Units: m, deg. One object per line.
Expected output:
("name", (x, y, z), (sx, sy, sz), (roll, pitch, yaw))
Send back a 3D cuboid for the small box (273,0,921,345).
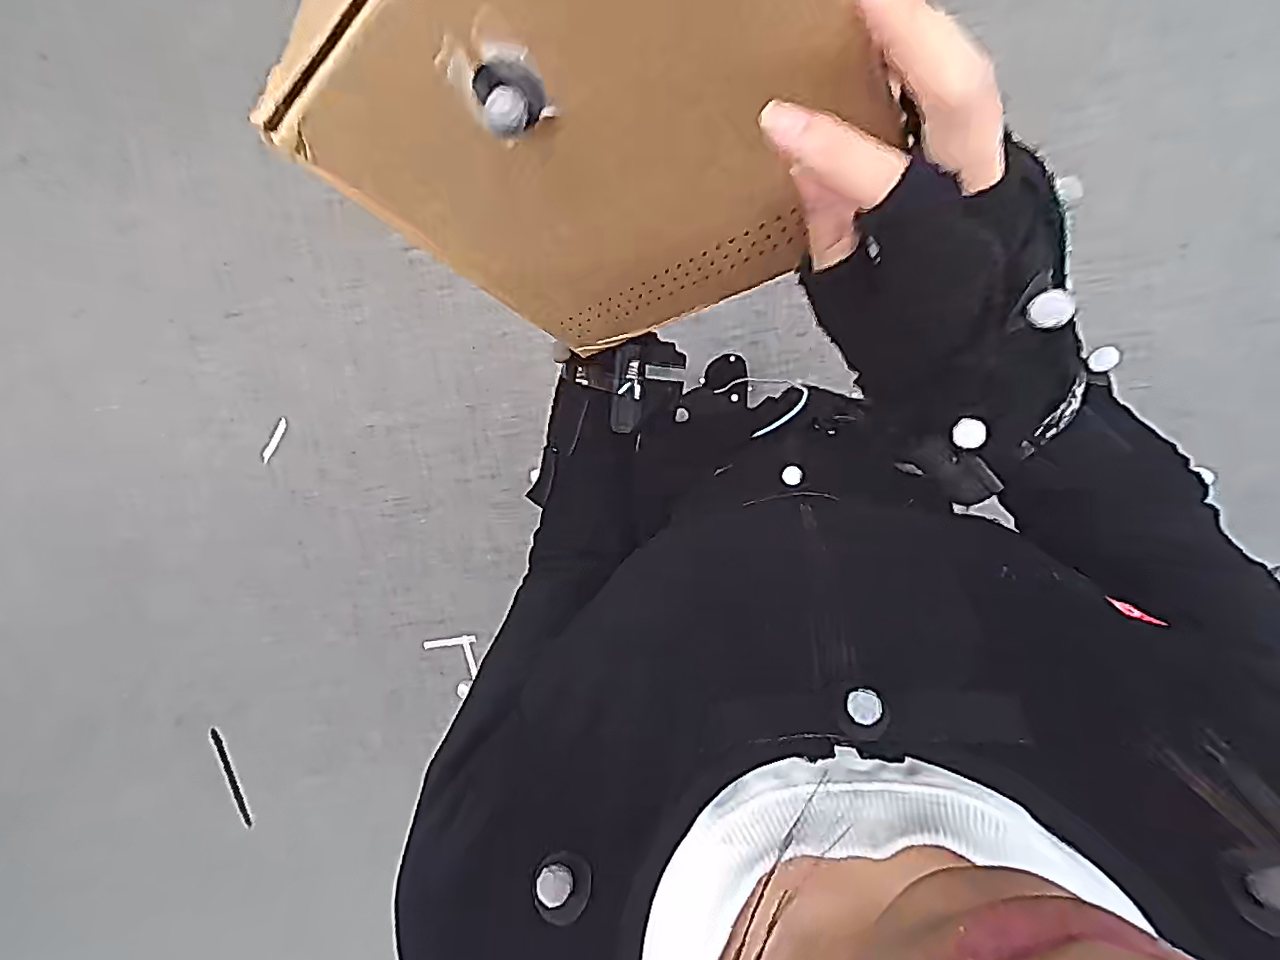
("small box", (-0.005, -0.182, 0.224), (0.179, 0.176, 0.168), (-13, 66, 33))
